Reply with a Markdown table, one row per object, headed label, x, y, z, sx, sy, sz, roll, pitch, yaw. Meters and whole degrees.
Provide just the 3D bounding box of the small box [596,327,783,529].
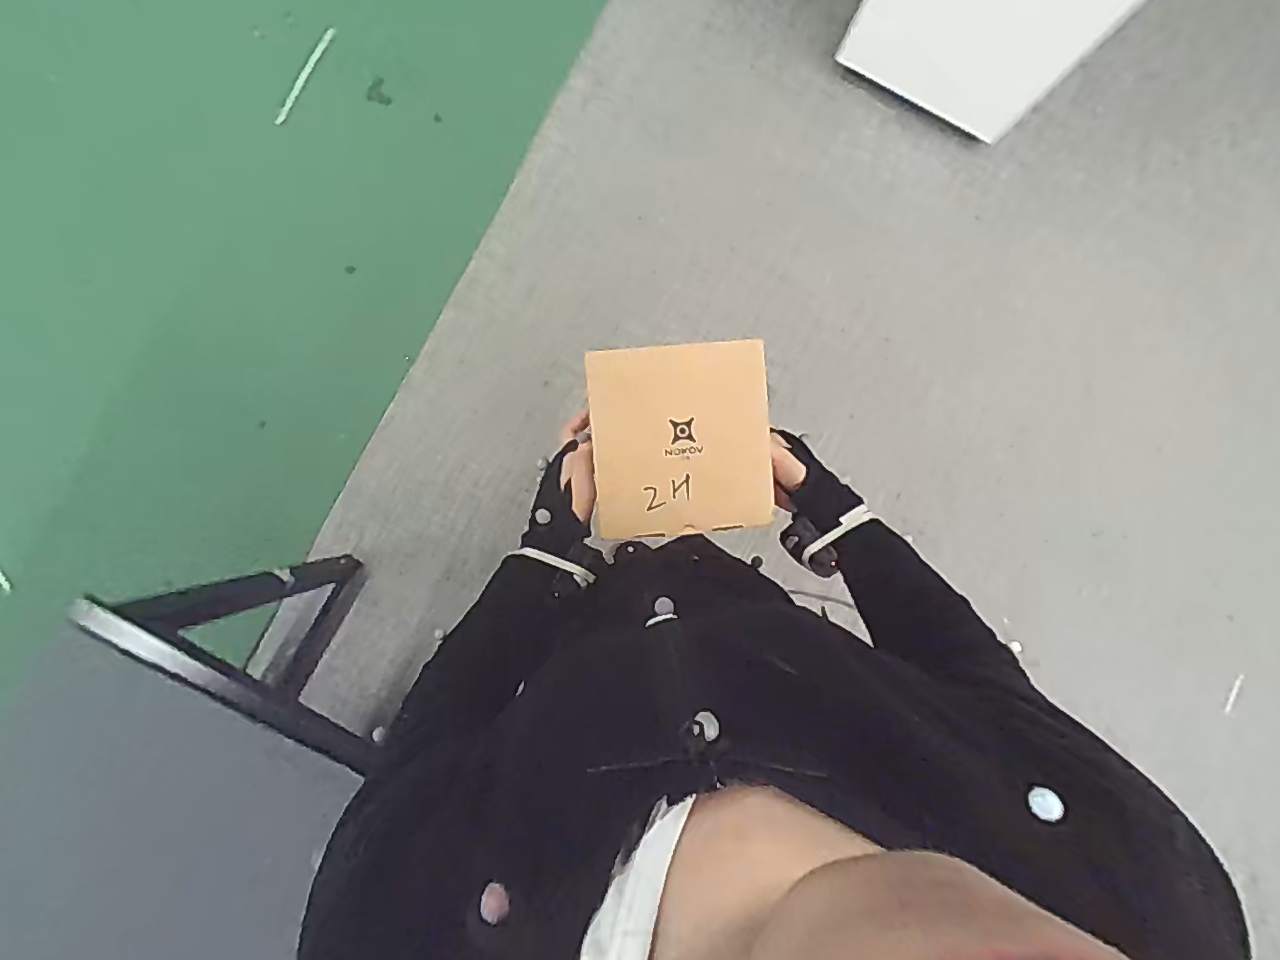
| label | x | y | z | sx | sy | sz | roll | pitch | yaw |
| --- | --- | --- | --- | --- | --- | --- | --- | --- | --- |
| small box | 0.040 | -0.052 | 0.566 | 0.168 | 0.176 | 0.179 | -4 | 95 | -2 |
